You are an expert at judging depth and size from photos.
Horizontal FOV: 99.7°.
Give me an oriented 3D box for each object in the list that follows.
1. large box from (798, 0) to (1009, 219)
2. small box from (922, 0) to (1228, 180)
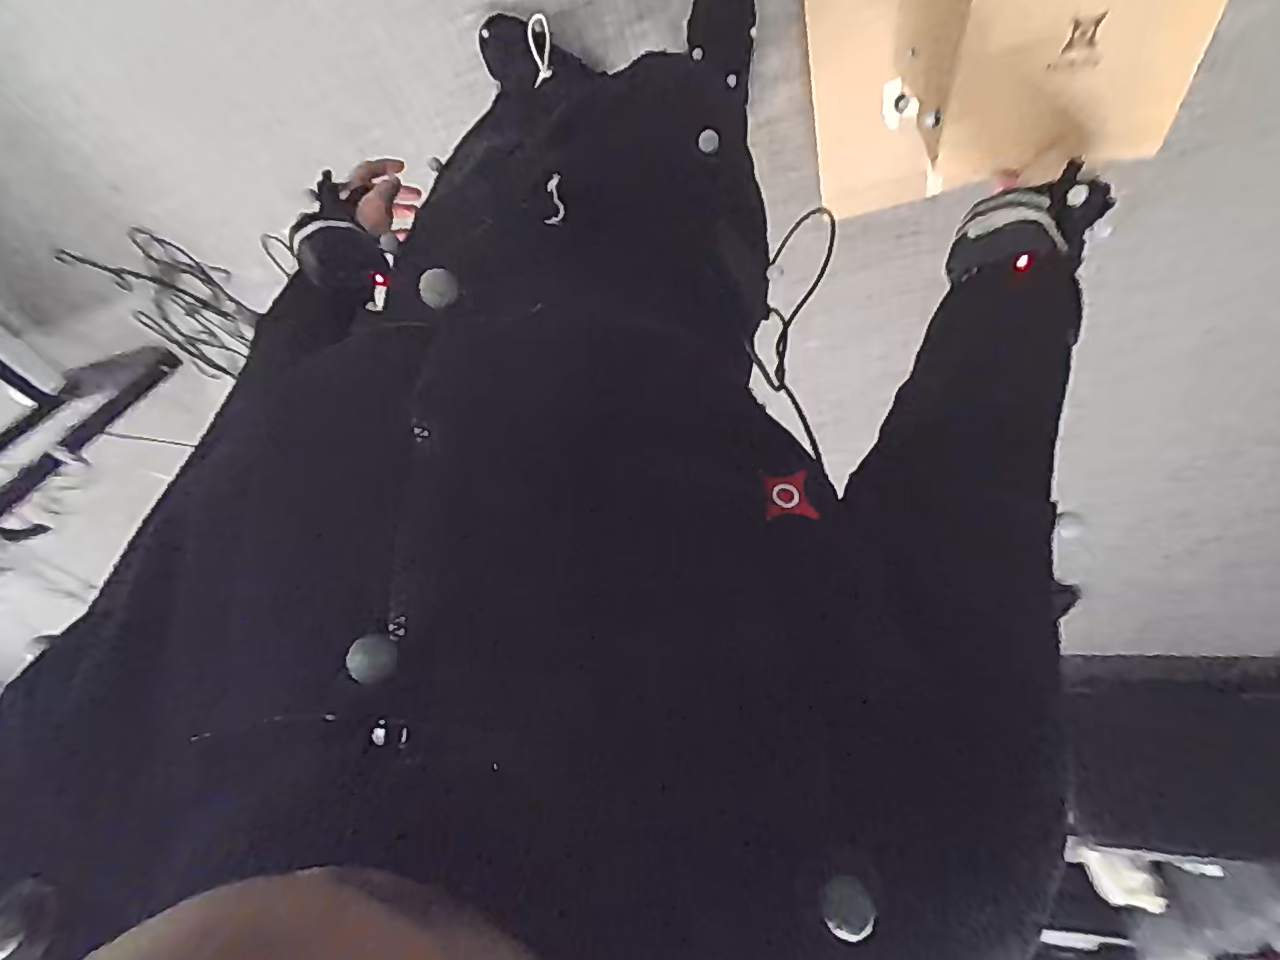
[{"bbox_3d":[0.396,-0.670,0.766,0.320,0.320,0.408,-6,137,19],"label":"large box"},{"bbox_3d":[0.348,-0.384,0.457,0.168,0.176,0.179,3,138,17],"label":"small box"}]
